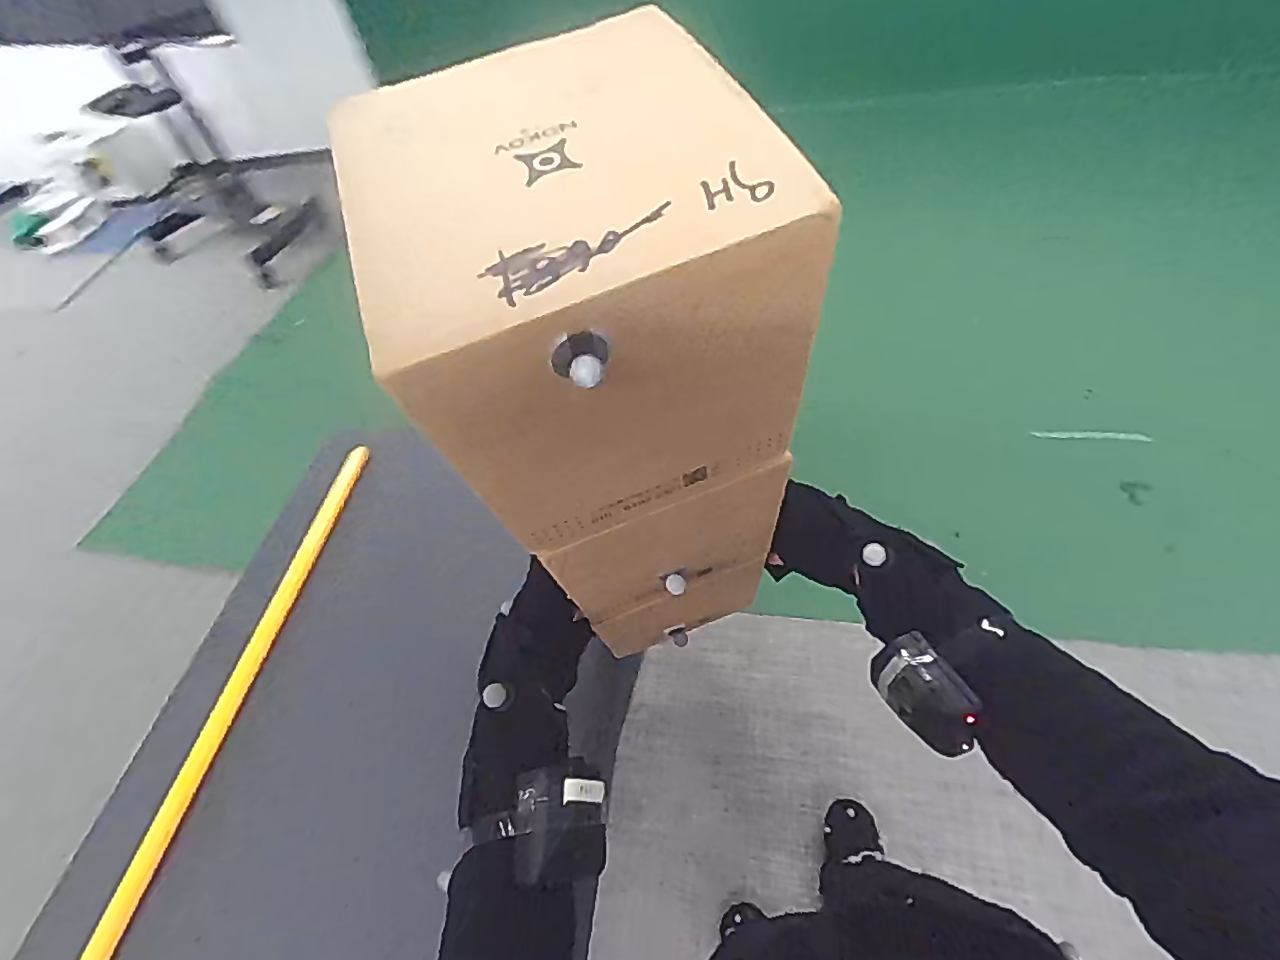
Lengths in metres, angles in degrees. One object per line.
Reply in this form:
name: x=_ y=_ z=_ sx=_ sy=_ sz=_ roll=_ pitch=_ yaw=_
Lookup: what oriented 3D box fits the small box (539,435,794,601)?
small box: x=0.002 y=-0.025 z=0.438 sx=0.168 sy=0.176 sz=0.179 roll=-20 pitch=63 yaw=-2
